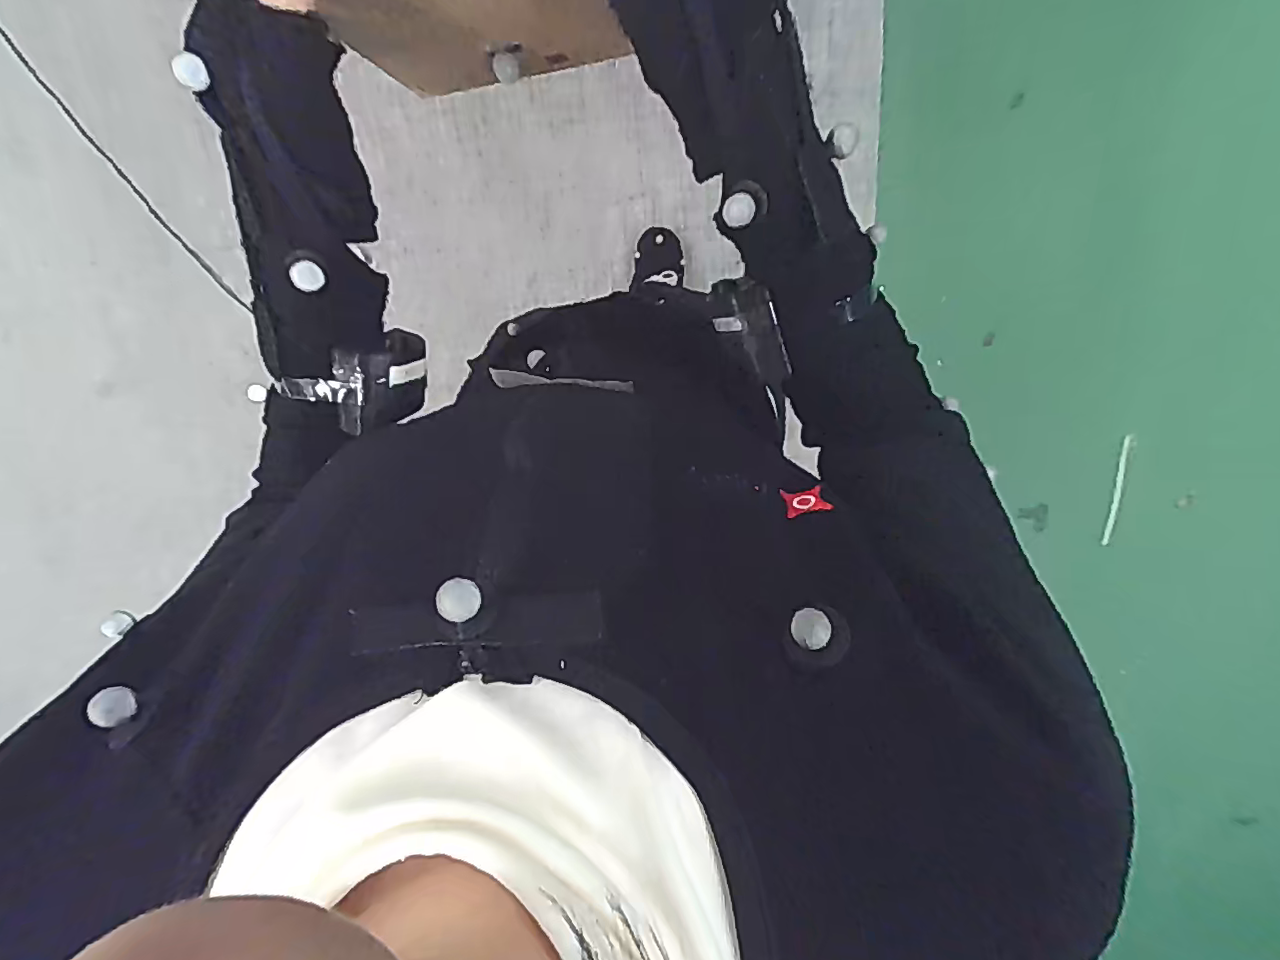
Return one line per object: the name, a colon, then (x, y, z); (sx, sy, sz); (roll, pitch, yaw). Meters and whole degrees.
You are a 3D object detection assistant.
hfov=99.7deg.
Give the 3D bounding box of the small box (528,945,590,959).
small box: (-0.213, 1.394, 1.442); (0.168, 0.176, 0.179); (-12, 110, 4)
